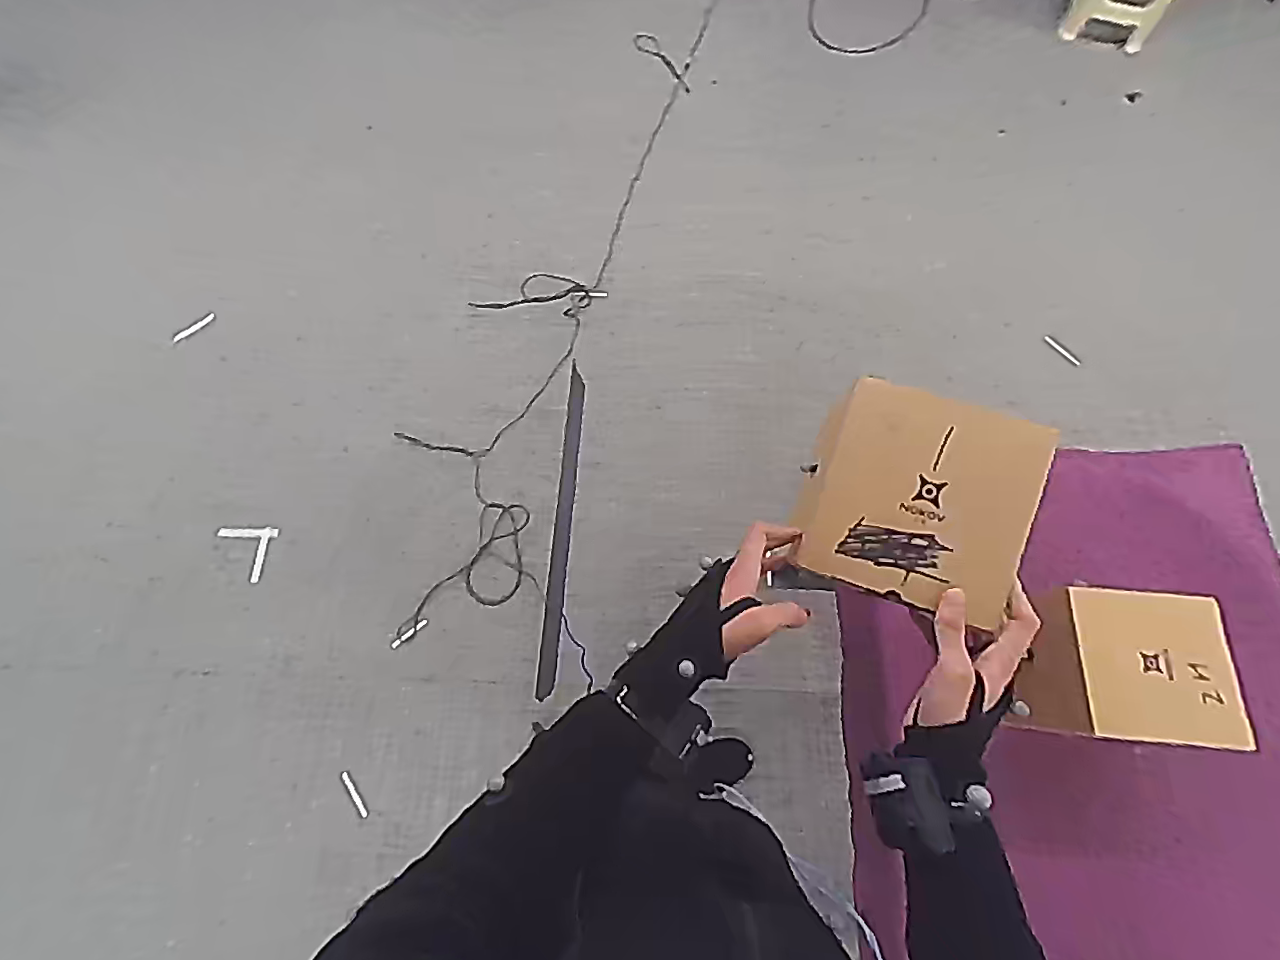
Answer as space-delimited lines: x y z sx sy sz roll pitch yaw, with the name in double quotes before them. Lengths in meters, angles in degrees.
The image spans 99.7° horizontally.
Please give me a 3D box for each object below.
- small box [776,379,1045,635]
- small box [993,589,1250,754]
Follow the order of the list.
"small box" 0.239 0.026 0.528 0.168 0.176 0.179 18 87 10
"small box" 0.584 0.242 0.692 0.179 0.176 0.168 5 70 2
